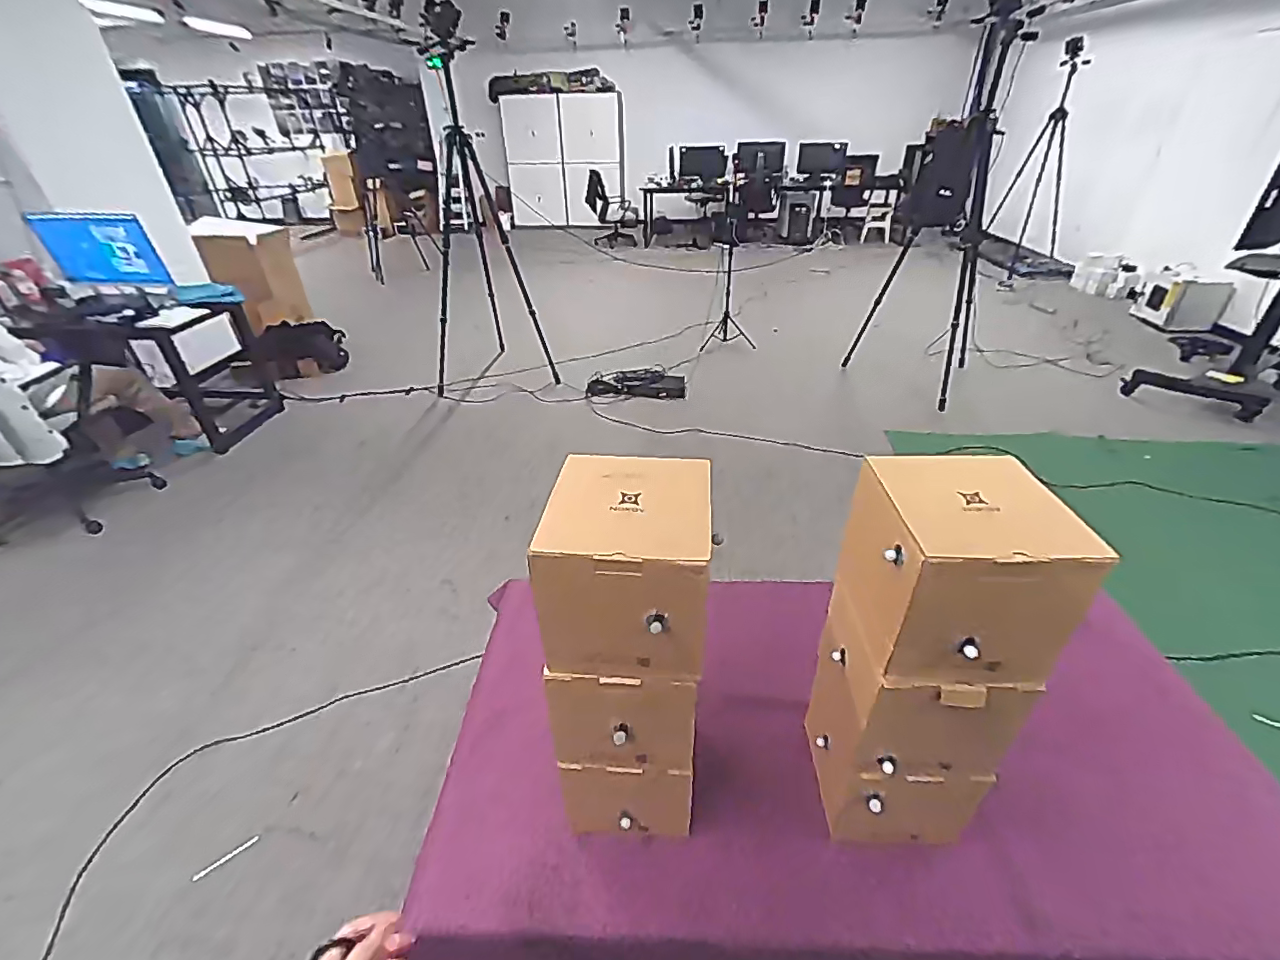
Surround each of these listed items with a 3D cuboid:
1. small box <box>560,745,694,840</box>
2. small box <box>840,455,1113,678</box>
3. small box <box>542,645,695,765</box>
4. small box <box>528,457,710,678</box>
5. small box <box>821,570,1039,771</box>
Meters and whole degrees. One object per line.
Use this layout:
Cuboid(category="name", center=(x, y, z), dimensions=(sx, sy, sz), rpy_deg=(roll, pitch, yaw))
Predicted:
Cuboid(category="small box", center=(-0.010, 0.369, 0.763), dimensions=(0.168, 0.176, 0.179), rpy_deg=(0, 33, 4))
Cuboid(category="small box", center=(0.330, 0.088, 0.581), dimensions=(0.168, 0.176, 0.179), rpy_deg=(0, 33, 2))
Cuboid(category="small box", center=(-0.015, 0.230, 0.677), dimensions=(0.168, 0.176, 0.179), rpy_deg=(1, 34, 3))
Cuboid(category="small box", center=(-0.009, 0.091, 0.590), dimensions=(0.168, 0.176, 0.179), rpy_deg=(3, 32, 6))
Cuboid(category="small box", center=(0.332, 0.230, 0.662), dimensions=(0.168, 0.176, 0.179), rpy_deg=(0, 32, 3))
